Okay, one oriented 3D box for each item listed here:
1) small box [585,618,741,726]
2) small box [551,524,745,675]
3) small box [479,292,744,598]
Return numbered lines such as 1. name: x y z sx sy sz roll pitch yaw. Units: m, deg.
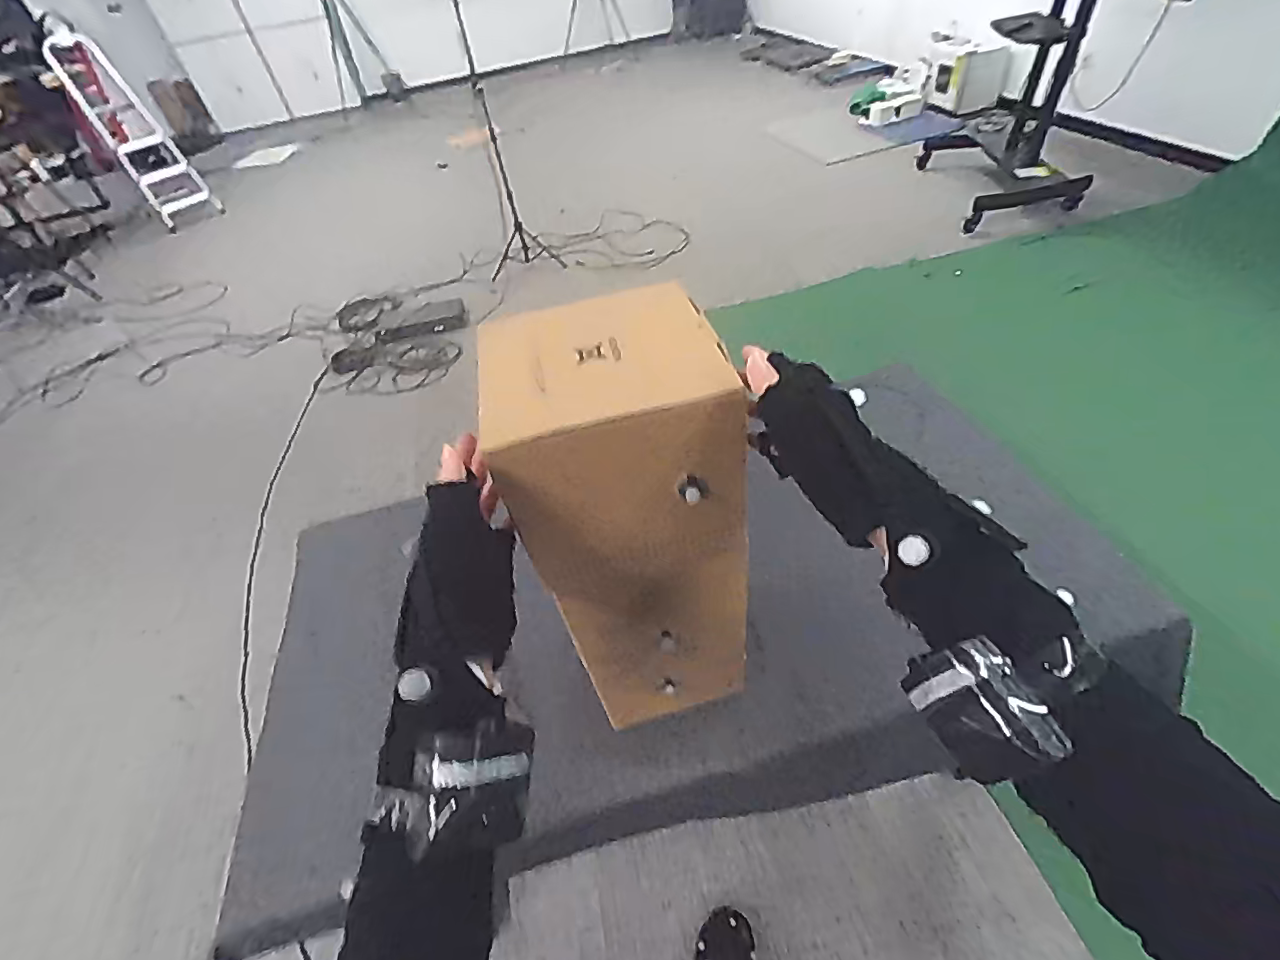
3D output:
1. small box: 0.020 0.188 0.694 0.179 0.176 0.168 -13 44 -3
2. small box: 0.000 0.081 0.577 0.179 0.176 0.168 -14 45 -4
3. small box: -0.022 -0.028 0.457 0.179 0.176 0.168 -16 45 -3
